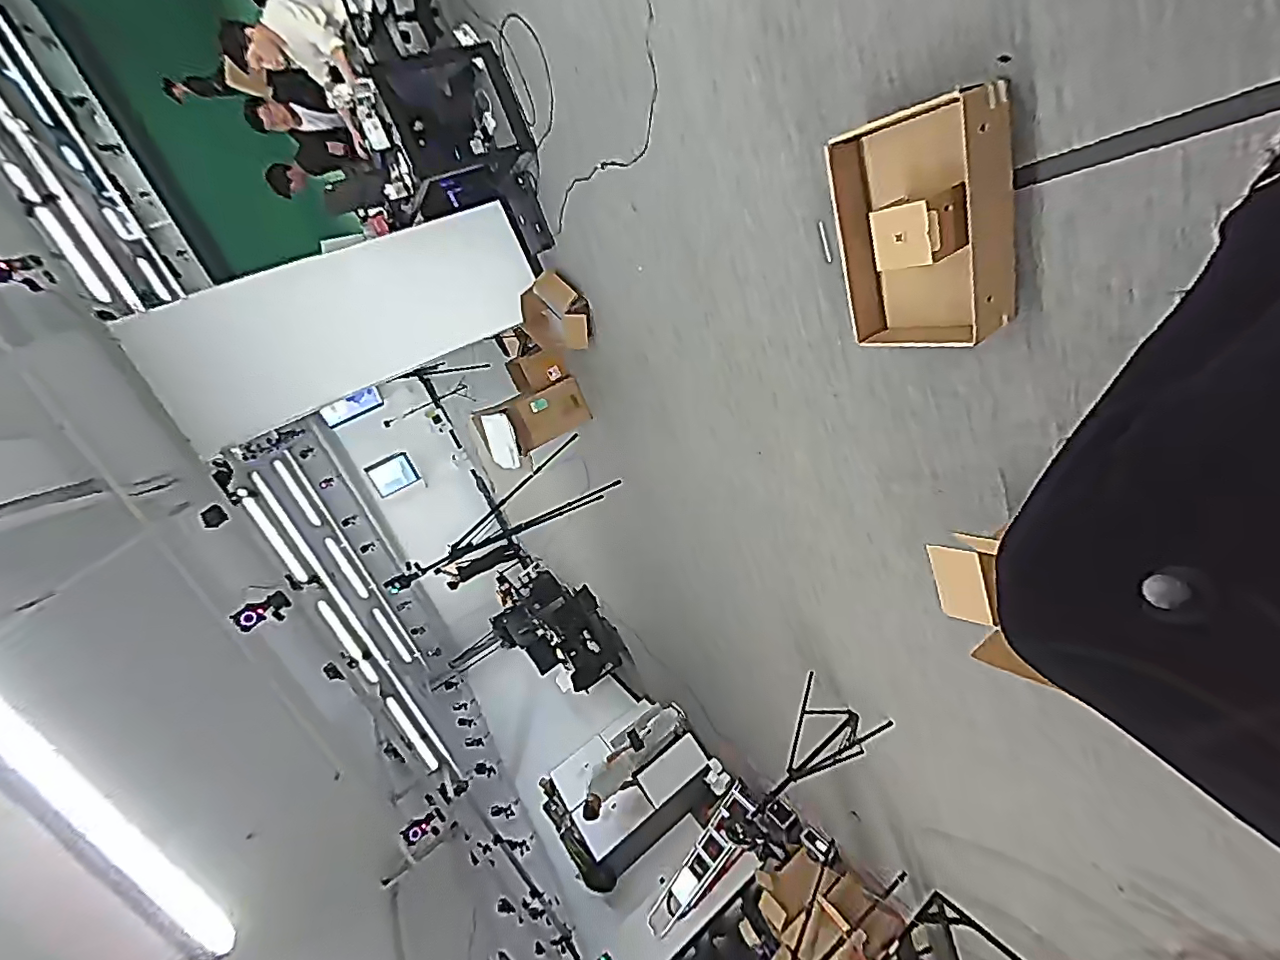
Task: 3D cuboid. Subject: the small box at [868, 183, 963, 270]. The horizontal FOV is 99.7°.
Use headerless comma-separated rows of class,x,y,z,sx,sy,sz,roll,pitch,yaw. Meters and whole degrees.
small box,0.770,-0.702,1.501,0.179,0.176,0.168,23,138,56
